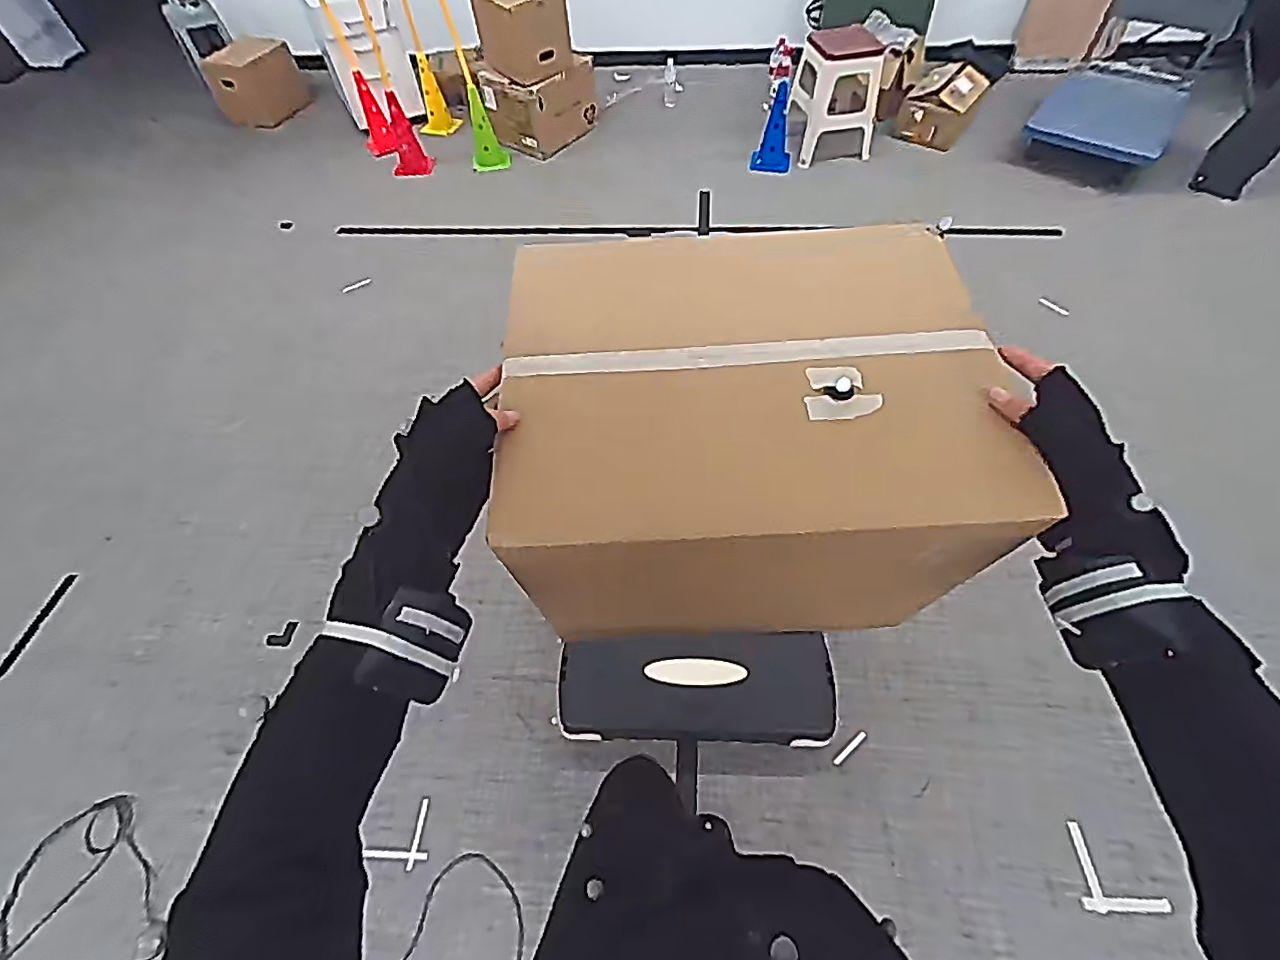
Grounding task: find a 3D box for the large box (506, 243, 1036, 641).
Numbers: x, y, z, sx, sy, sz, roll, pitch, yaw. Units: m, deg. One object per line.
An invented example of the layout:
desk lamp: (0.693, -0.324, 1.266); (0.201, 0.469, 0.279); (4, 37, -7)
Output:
large box: (0.092, -0.021, 0.598); (0.408, 0.320, 0.320); (-3, 62, 0)
